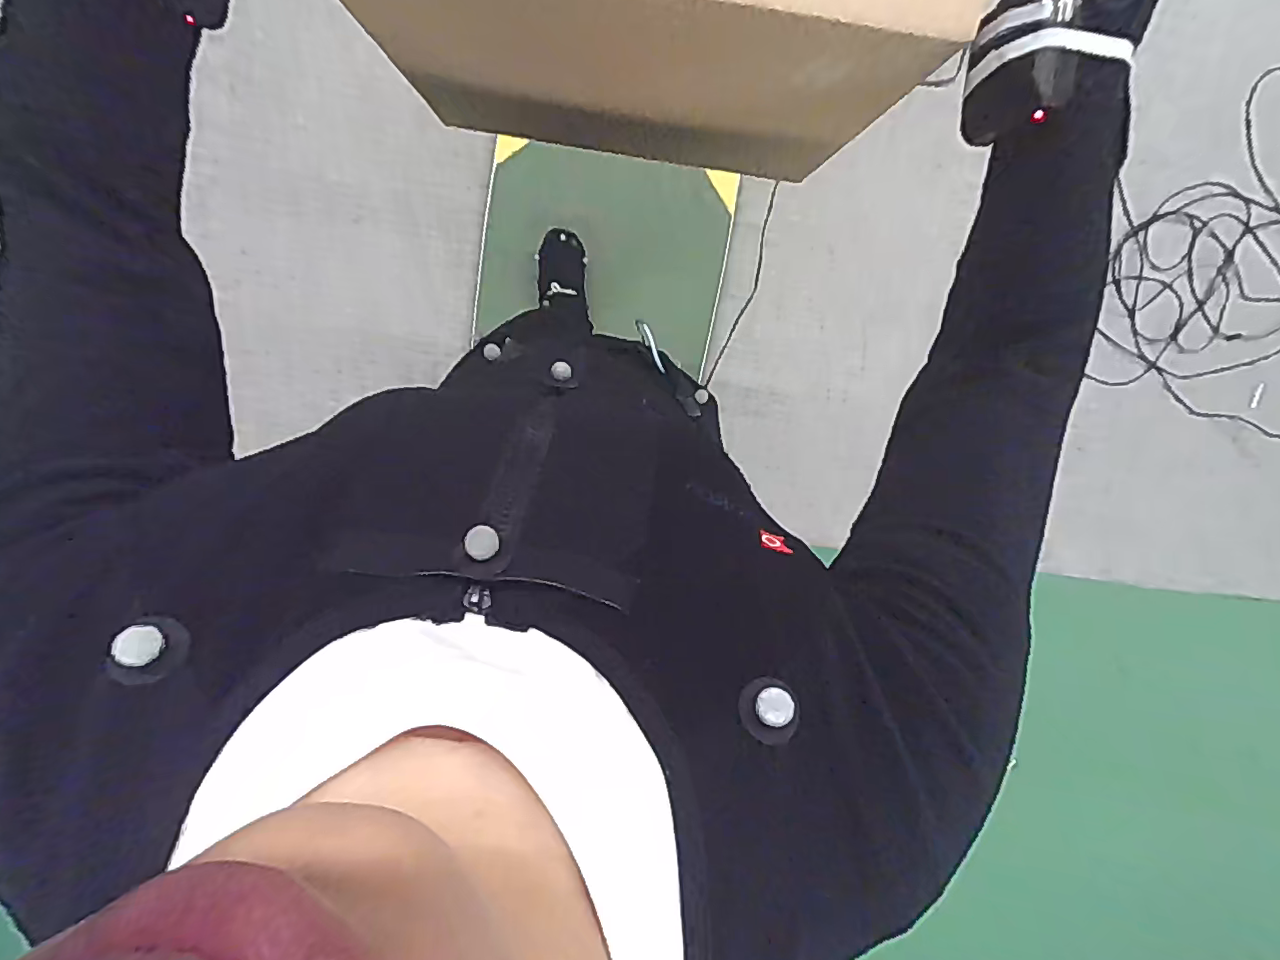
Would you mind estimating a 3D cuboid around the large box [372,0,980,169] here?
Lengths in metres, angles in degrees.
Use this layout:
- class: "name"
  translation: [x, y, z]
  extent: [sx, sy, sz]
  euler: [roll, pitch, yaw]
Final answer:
- class: "large box"
  translation: [0.016, -0.479, 0.423]
  extent: [0.408, 0.320, 0.320]
  euler: [6, 106, -5]
